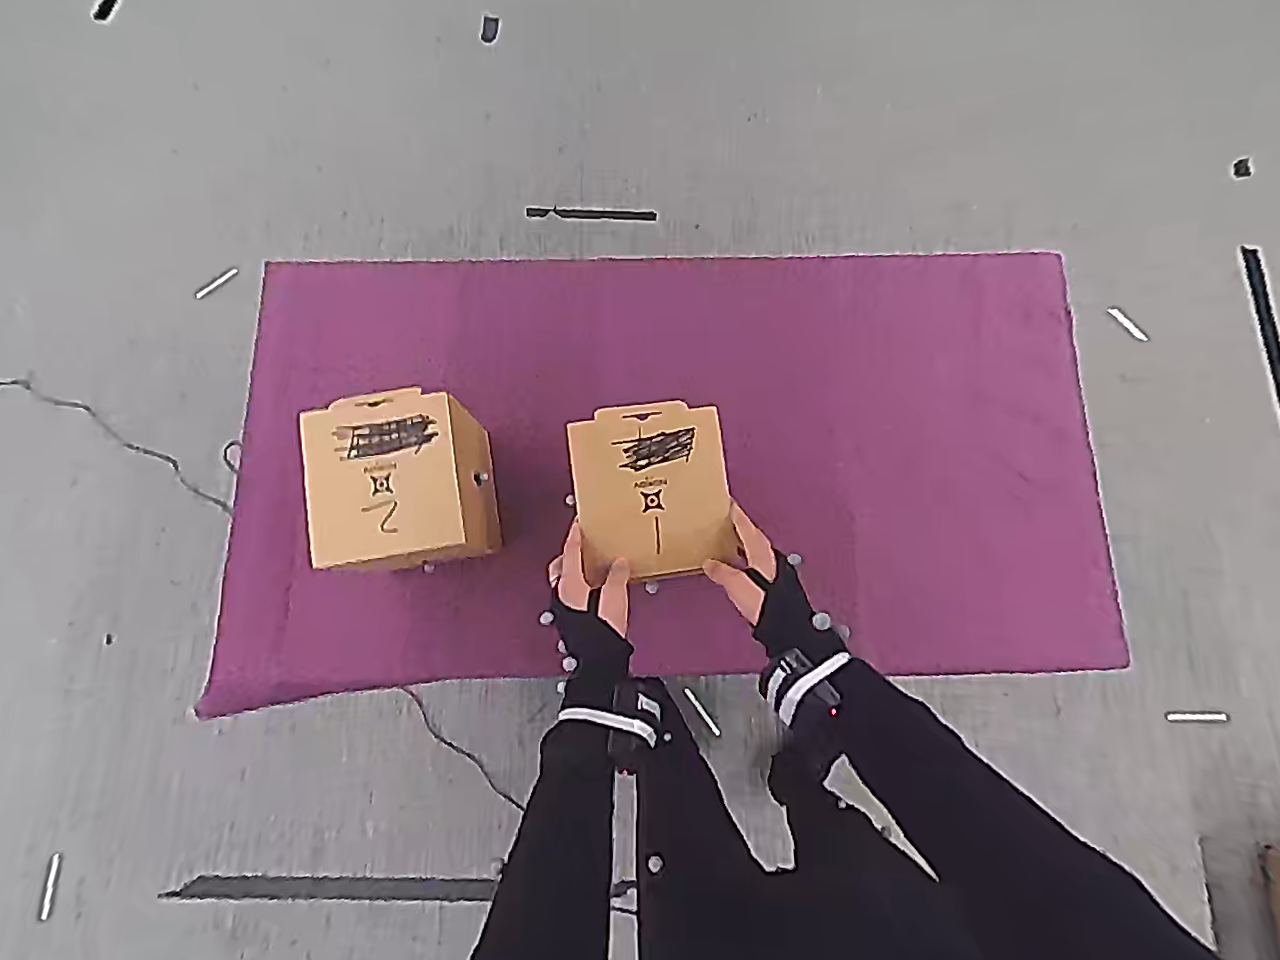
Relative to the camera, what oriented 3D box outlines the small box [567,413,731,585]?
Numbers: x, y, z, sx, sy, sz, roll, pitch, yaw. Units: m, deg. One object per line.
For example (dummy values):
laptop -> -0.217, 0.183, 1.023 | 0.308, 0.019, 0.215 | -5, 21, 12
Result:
small box -> 0.004, 0.032, 0.670 | 0.168, 0.176, 0.179 | -7, 79, -3
